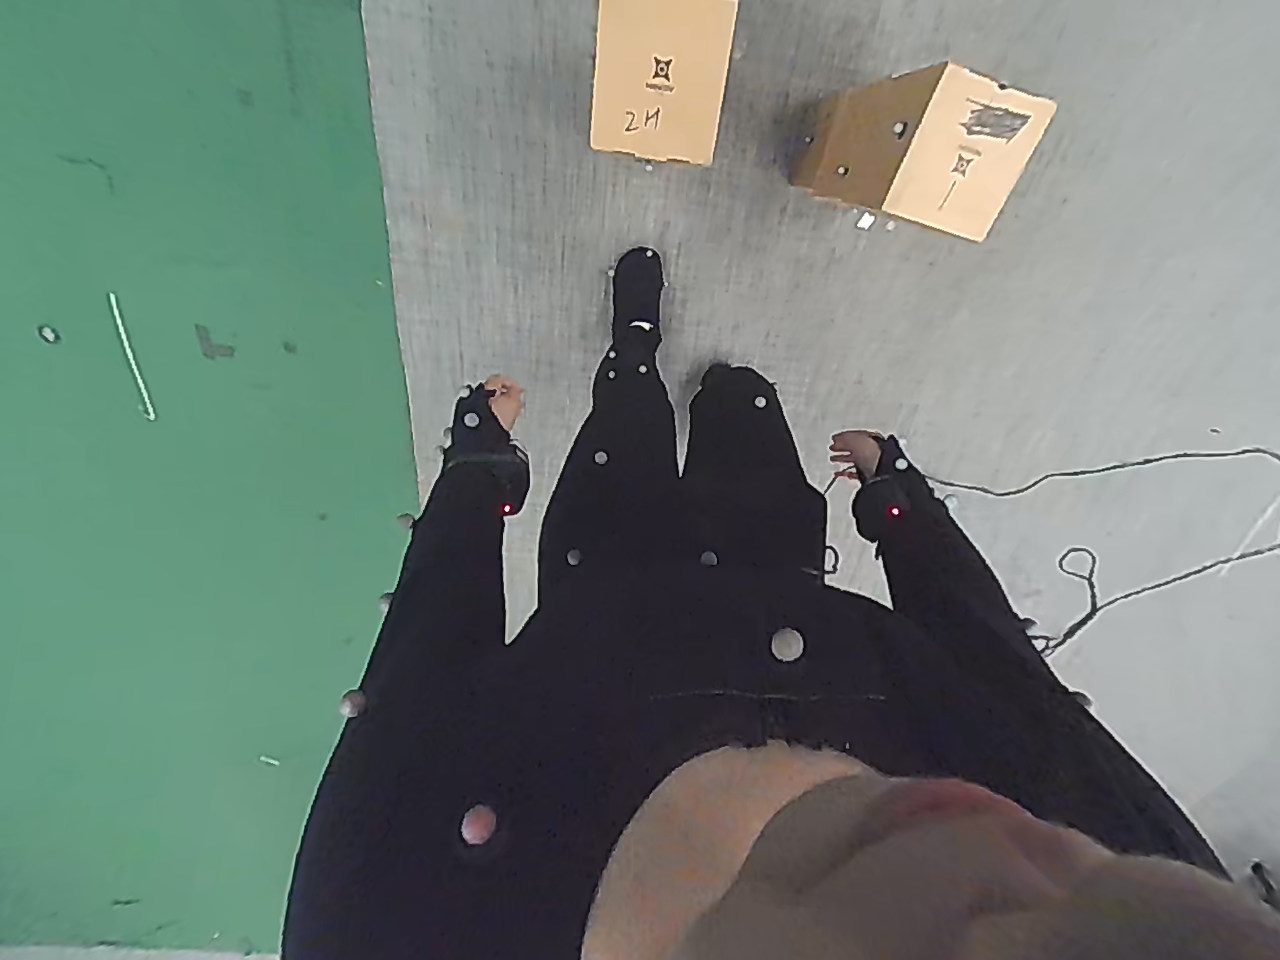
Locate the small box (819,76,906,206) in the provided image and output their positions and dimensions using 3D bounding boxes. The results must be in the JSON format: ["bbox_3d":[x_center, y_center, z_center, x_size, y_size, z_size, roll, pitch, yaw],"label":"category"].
[{"bbox_3d":[0.434,-0.563,0.937,0.168,0.176,0.179,12,120,-8],"label":"small box"}]

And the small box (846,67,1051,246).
[{"bbox_3d":[0.434,-0.472,0.800,0.168,0.176,0.179,13,121,-9],"label":"small box"}]

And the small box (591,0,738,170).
[{"bbox_3d":[0.026,-0.542,0.751,0.168,0.176,0.179,7,120,-3],"label":"small box"}]
